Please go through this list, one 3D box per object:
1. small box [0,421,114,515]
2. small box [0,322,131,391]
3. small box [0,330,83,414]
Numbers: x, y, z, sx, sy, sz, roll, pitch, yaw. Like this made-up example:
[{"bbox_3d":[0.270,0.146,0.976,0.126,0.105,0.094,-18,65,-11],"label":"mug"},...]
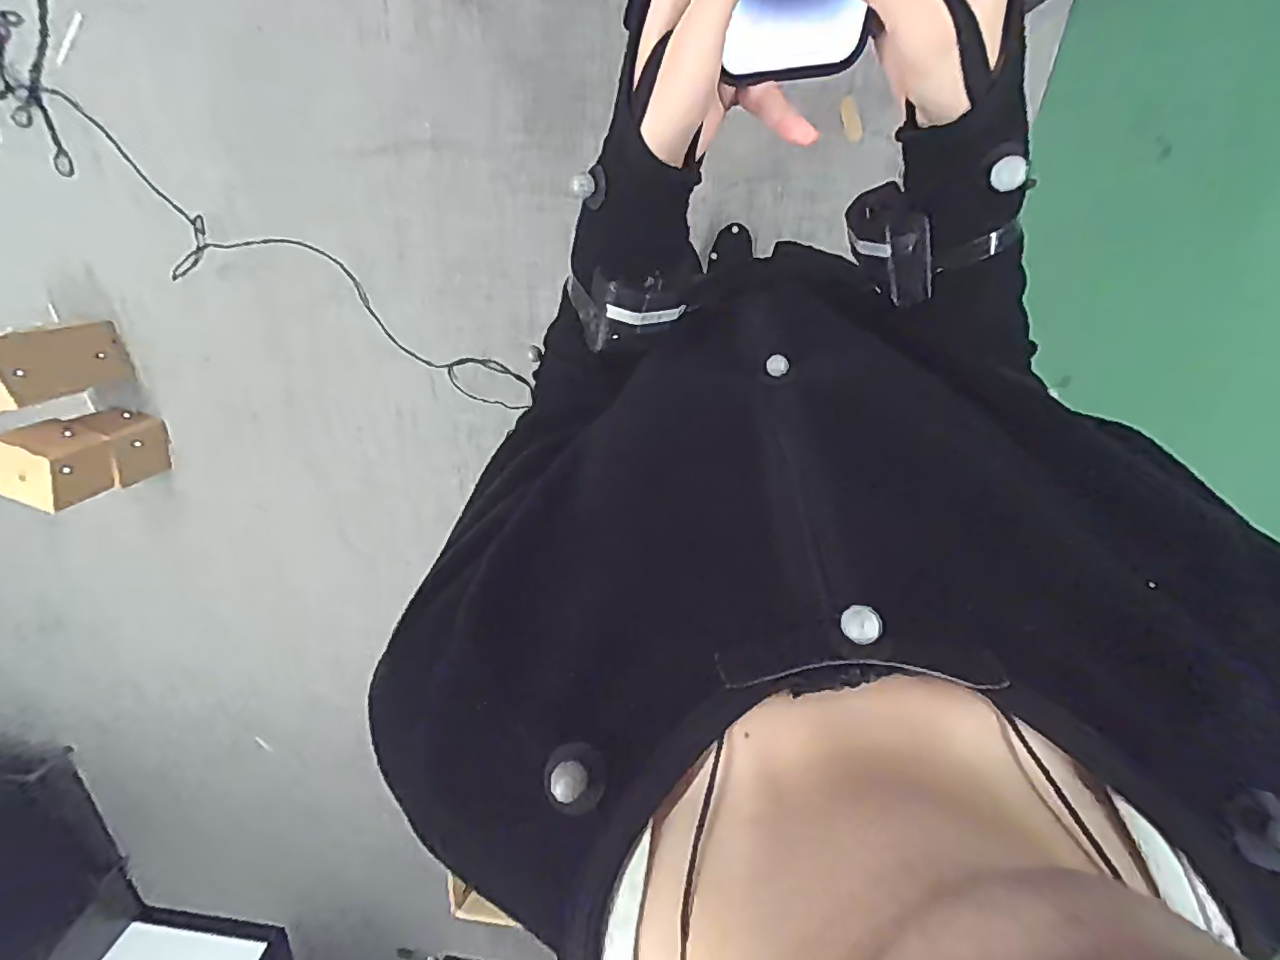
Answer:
[{"bbox_3d":[-1.612,-0.039,1.493,0.168,0.176,0.179,22,113,-3],"label":"small box"},{"bbox_3d":[-1.604,-0.351,1.529,0.179,0.176,0.168,0,114,7],"label":"small box"},{"bbox_3d":[-1.609,-0.276,1.383,0.168,0.176,0.179,-5,114,8],"label":"small box"}]
